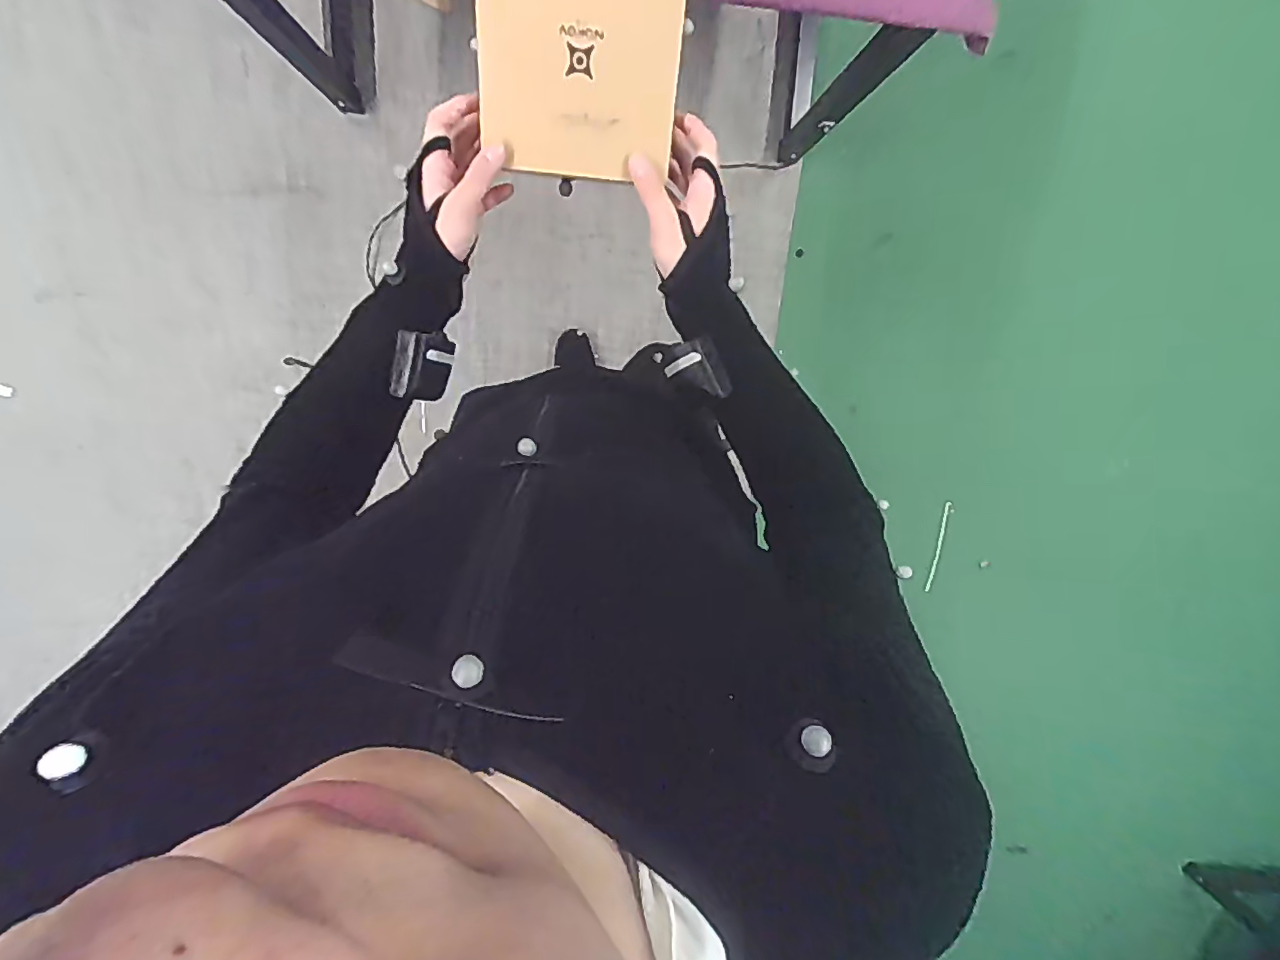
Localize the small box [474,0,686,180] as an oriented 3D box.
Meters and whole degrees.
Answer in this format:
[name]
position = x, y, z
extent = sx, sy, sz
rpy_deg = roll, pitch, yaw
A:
[small box]
position = -0.054, -0.388, 0.501
extent = 0.168, 0.176, 0.179
rpy_deg = 4, 118, -5
